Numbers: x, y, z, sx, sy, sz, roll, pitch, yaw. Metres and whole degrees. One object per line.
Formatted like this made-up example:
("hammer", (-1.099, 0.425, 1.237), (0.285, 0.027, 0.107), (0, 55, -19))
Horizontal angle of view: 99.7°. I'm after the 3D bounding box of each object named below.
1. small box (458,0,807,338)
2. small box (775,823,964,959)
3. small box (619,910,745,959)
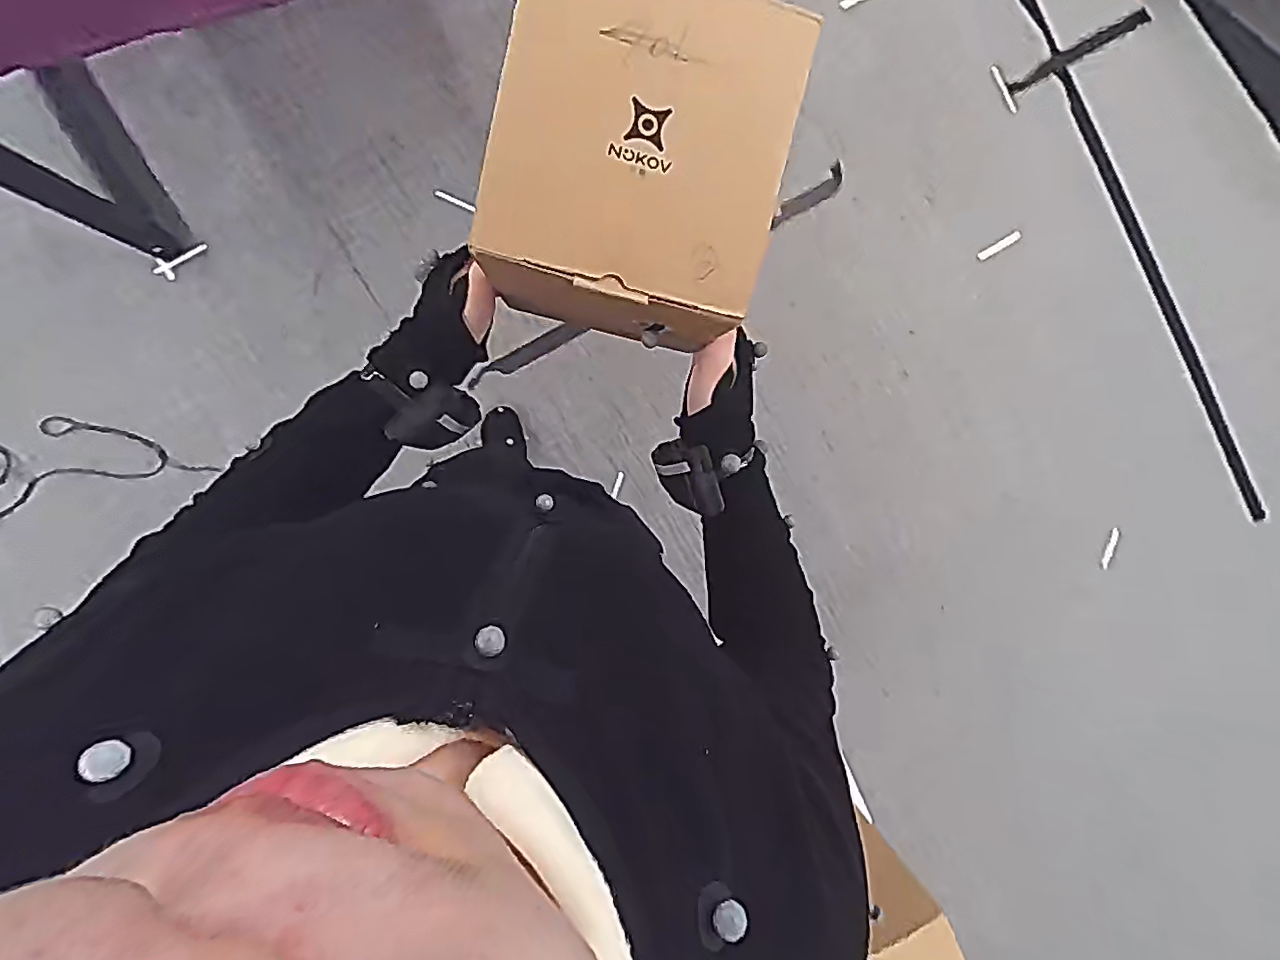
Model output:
("small box", (-0.011, -0.209, 0.379), (0.168, 0.176, 0.179), (12, 96, -8))
("small box", (0.319, 0.630, 0.753), (0.179, 0.176, 0.168), (-24, 96, -5))
("small box", (0.082, 0.739, 0.732), (0.168, 0.176, 0.179), (-26, 97, -5))
